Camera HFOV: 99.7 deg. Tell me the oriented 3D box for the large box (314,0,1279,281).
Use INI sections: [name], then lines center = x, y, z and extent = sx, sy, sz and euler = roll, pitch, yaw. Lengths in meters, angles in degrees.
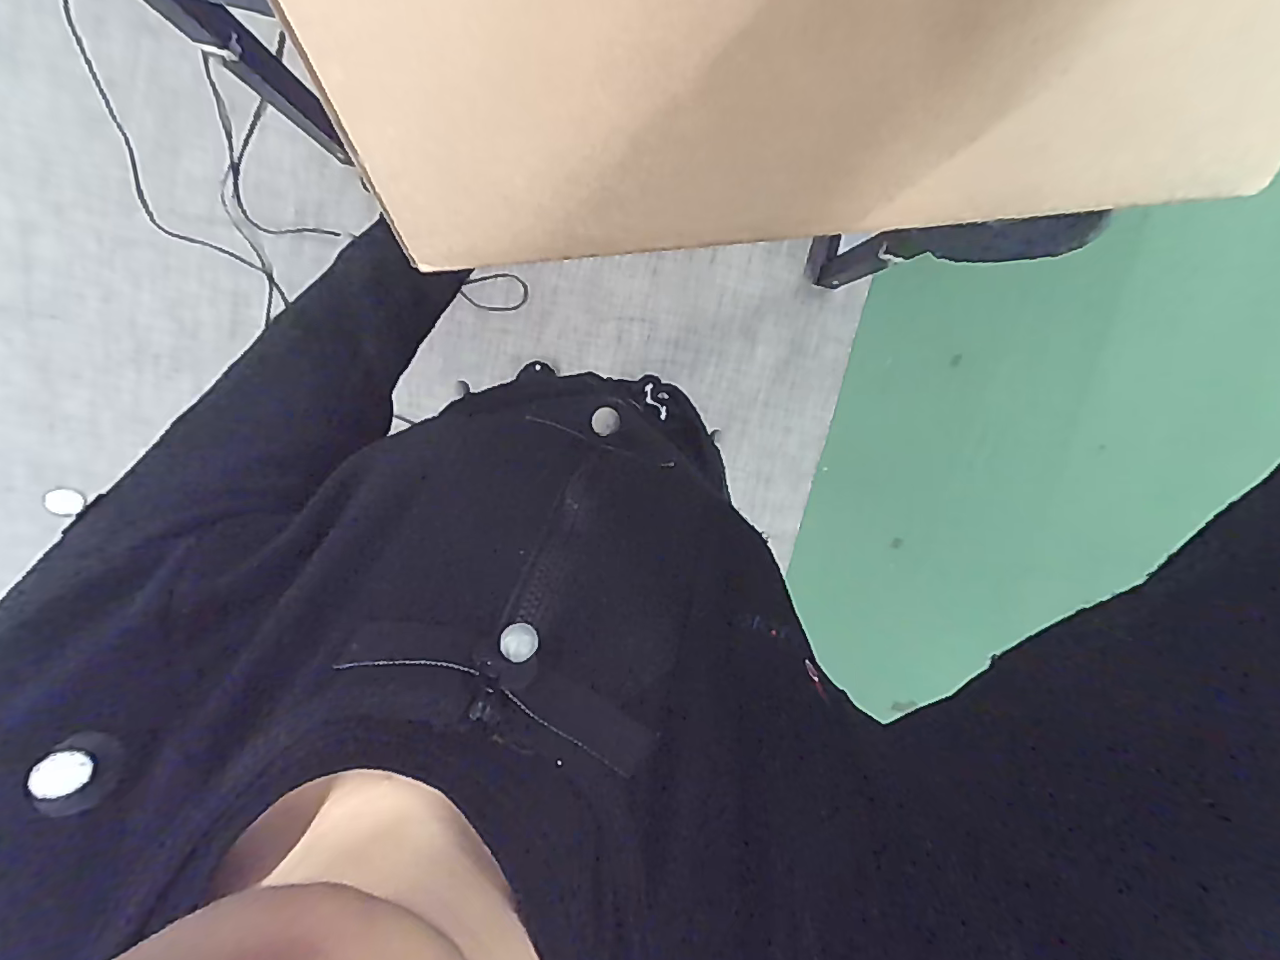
[large box]
center = 0.068, -0.335, 0.261
extent = 0.408, 0.320, 0.320
euler = -3, 141, 12
